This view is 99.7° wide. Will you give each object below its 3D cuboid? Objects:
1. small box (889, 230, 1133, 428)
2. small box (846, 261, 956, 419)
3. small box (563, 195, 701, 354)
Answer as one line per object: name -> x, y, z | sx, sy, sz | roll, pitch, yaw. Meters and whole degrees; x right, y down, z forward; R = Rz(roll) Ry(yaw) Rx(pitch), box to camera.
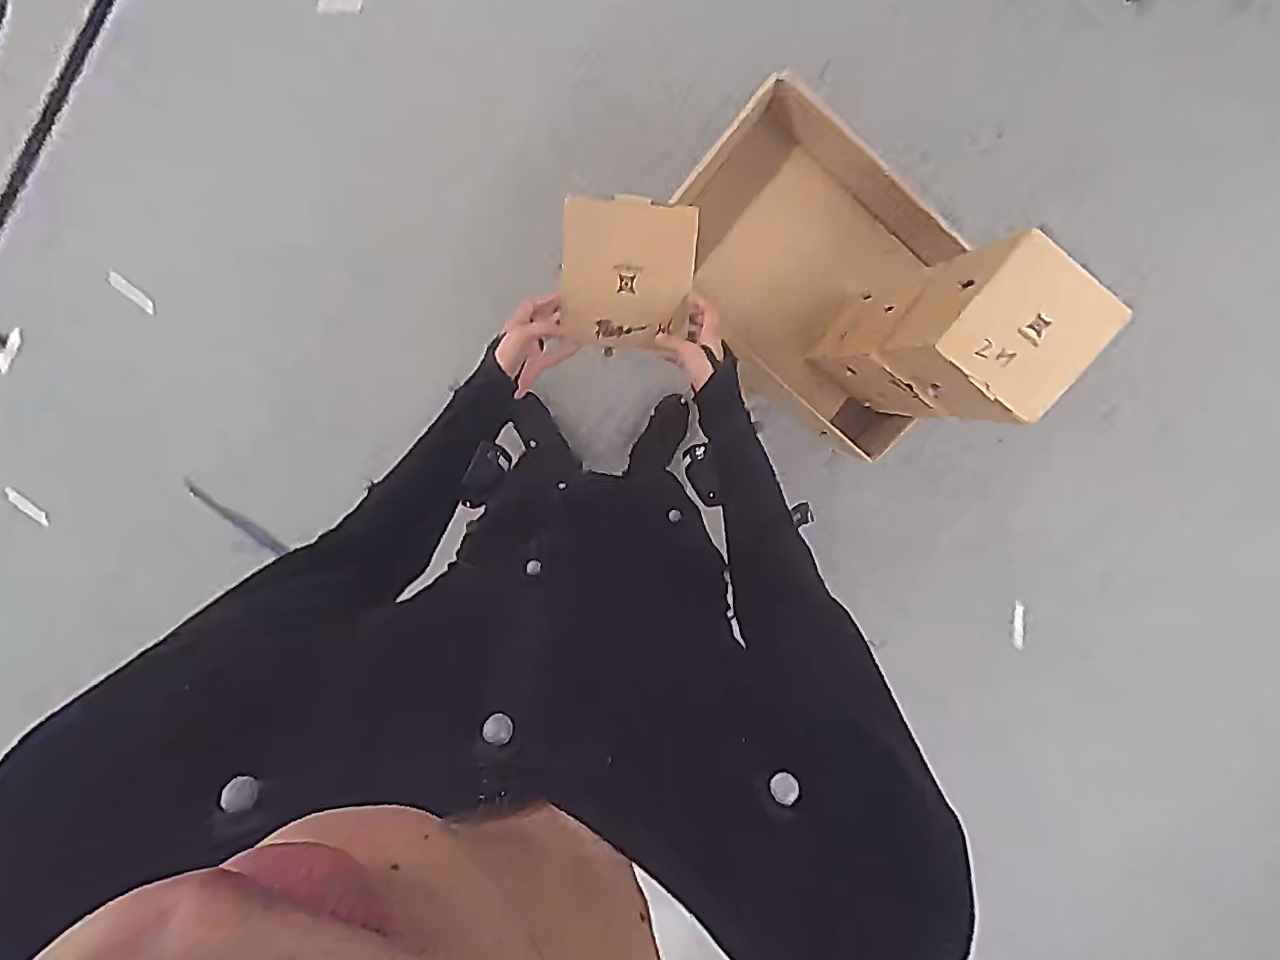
small box -> 0.478, -0.196, 0.730 | 0.168, 0.176, 0.179 | 37, 101, -6
small box -> 0.468, -0.223, 0.893 | 0.168, 0.176, 0.179 | 37, 100, -6
small box -> -0.020, -0.272, 0.748 | 0.168, 0.176, 0.179 | 2, 105, -6
